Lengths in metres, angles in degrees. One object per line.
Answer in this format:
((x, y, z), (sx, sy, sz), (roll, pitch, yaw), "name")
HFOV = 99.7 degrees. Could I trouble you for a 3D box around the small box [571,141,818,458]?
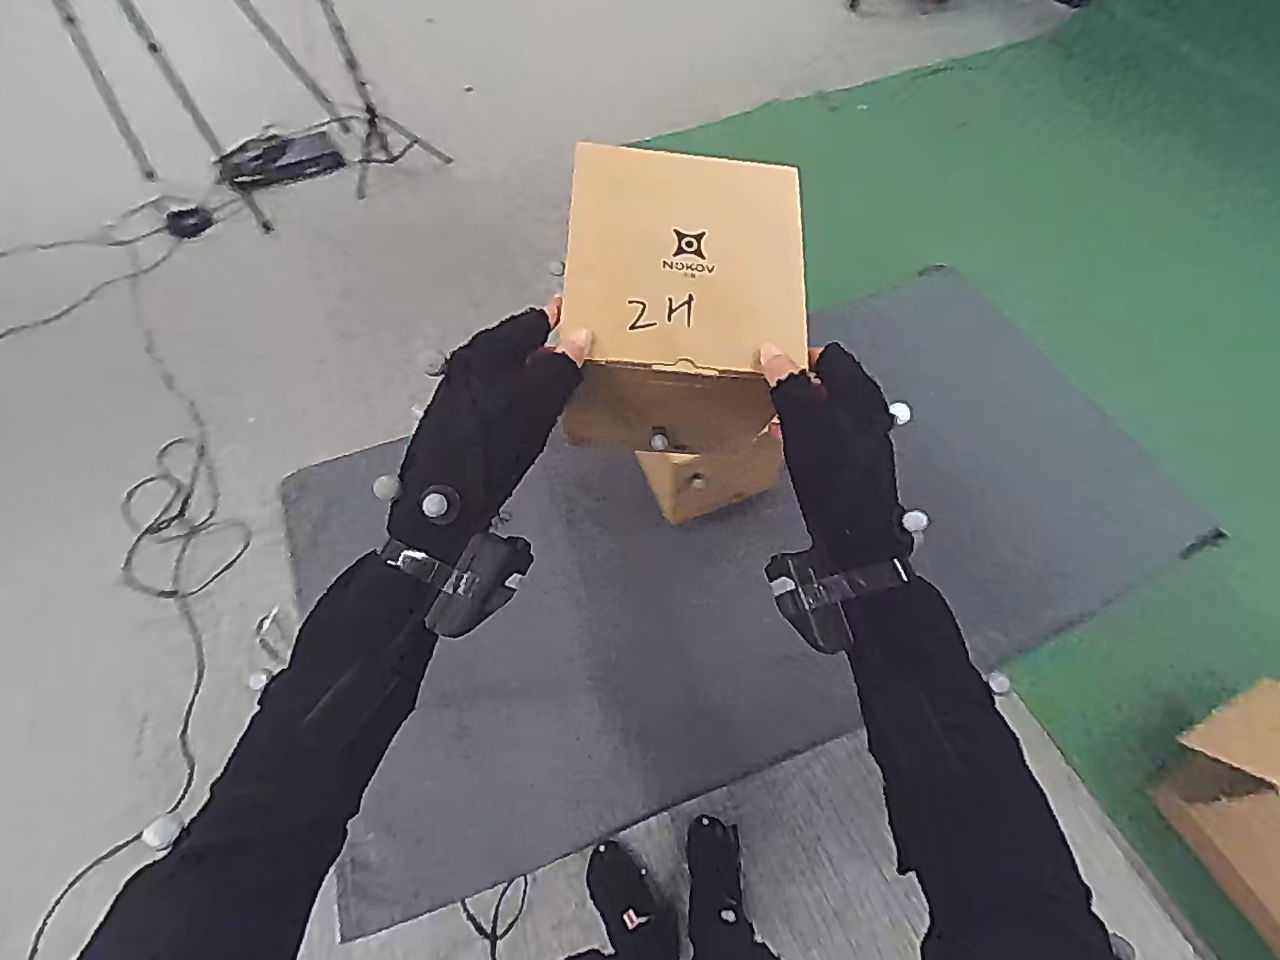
((0.034, -0.132, 0.448), (0.168, 0.176, 0.179), (5, 74, -4), "small box")
